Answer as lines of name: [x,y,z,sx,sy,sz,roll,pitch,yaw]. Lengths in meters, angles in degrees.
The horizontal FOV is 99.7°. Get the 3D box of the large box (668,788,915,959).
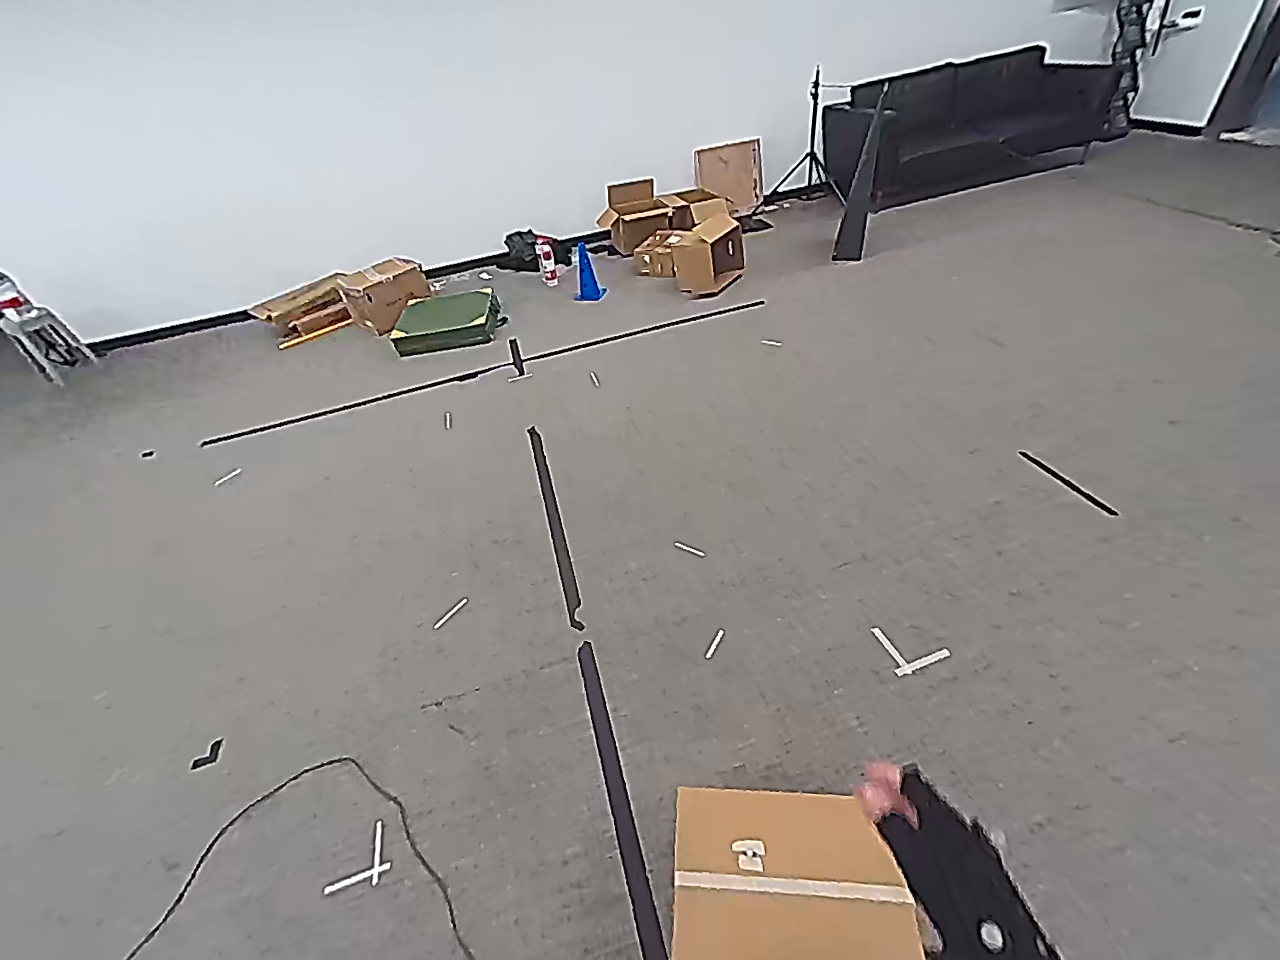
large box: [0.273,0.833,1.058,0.408,0.320,0.320,-2,40,9]
